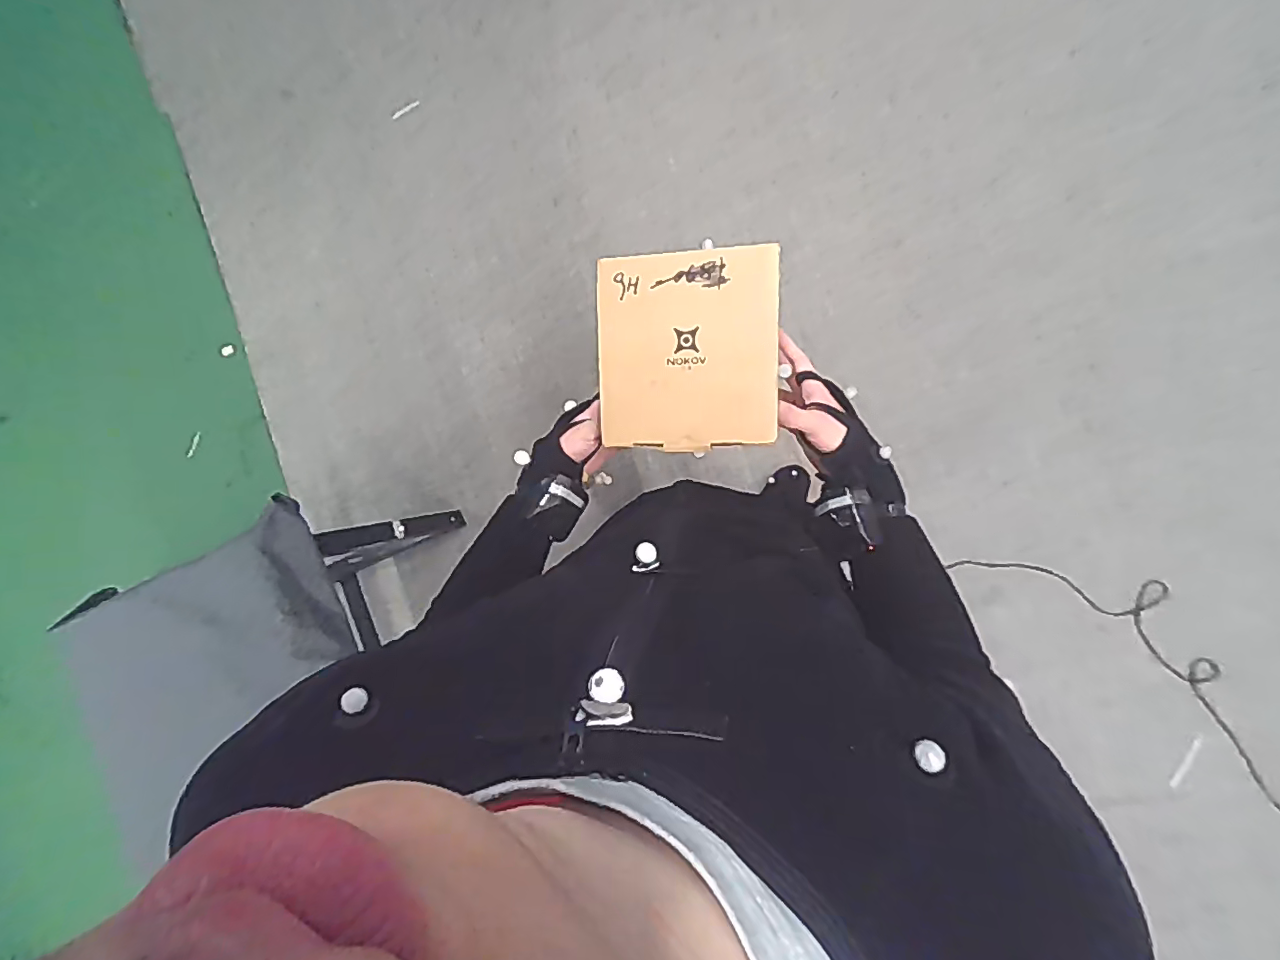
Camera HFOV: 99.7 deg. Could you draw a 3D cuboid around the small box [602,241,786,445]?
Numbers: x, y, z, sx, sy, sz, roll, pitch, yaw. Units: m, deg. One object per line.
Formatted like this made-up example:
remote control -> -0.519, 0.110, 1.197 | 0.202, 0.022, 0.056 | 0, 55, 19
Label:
small box -> 0.062, -0.130, 0.563 | 0.168, 0.176, 0.179 | 1, 97, 12
